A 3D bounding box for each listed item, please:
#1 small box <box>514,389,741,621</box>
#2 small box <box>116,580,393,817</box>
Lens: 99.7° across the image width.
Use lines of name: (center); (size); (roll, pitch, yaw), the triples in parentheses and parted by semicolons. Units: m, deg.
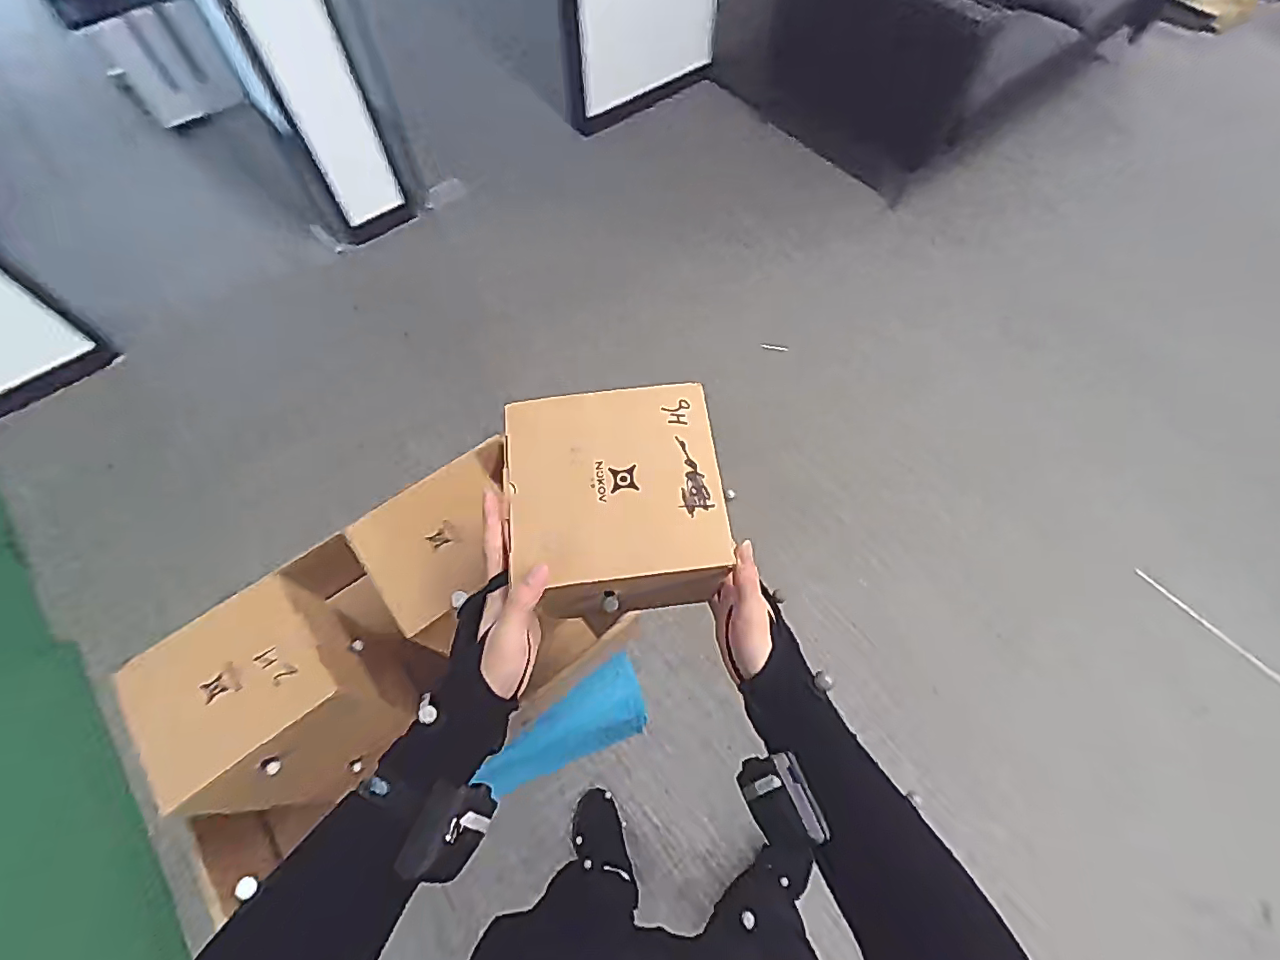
small box: (-0.012, 0.034, 0.513); (0.179, 0.176, 0.168); (-6, 68, -1)
small box: (-0.427, 0.252, 0.625); (0.179, 0.176, 0.168); (-36, 67, -19)
